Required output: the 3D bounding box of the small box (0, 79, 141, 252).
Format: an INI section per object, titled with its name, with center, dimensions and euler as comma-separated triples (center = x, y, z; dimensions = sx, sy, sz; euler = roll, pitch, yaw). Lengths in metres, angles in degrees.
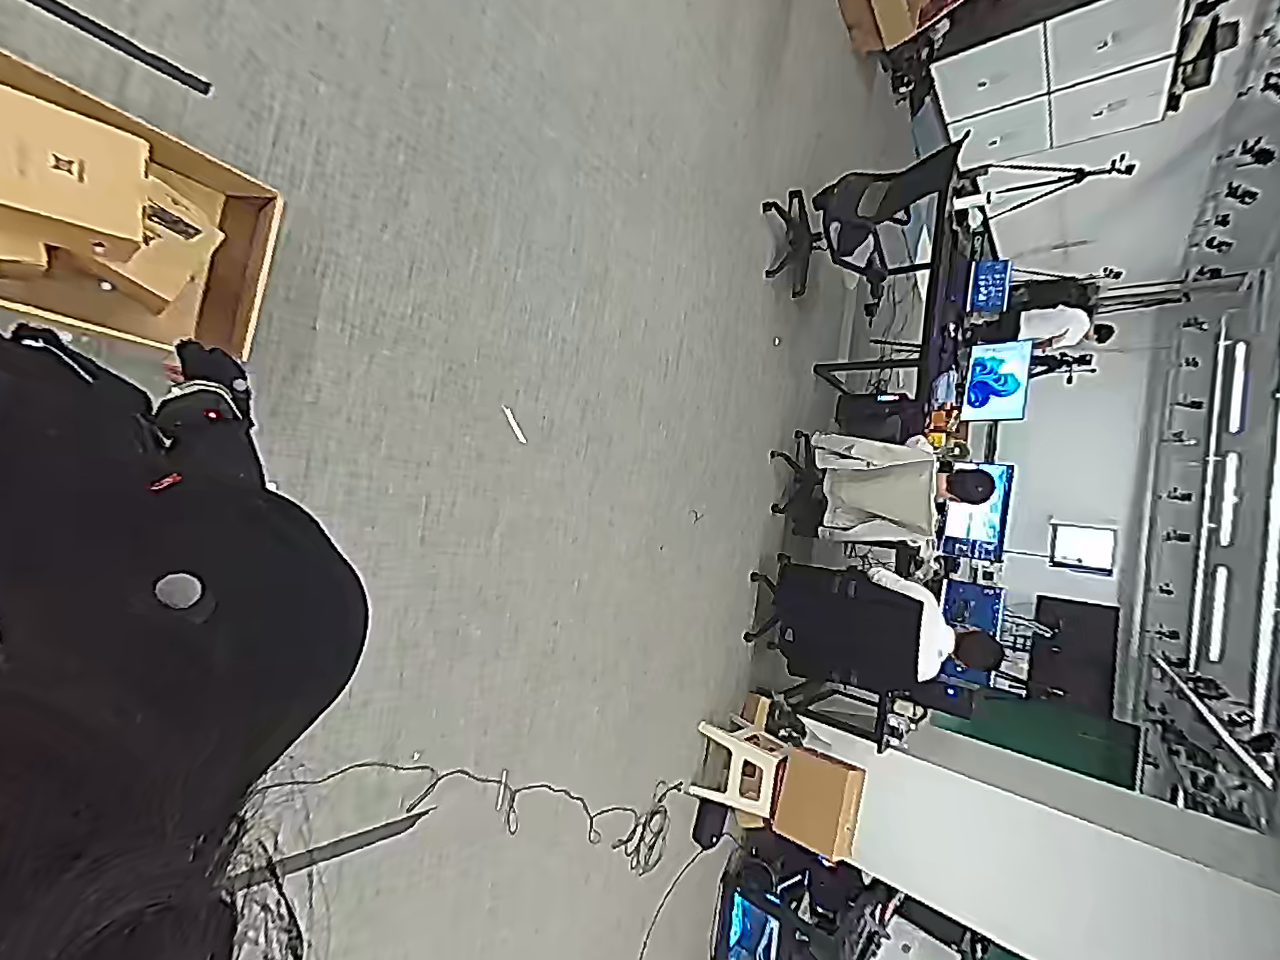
[small box]
center = -0.905, -0.469, 0.832
dimensions = 0.179, 0.176, 0.168
euler = 3, 91, -50
